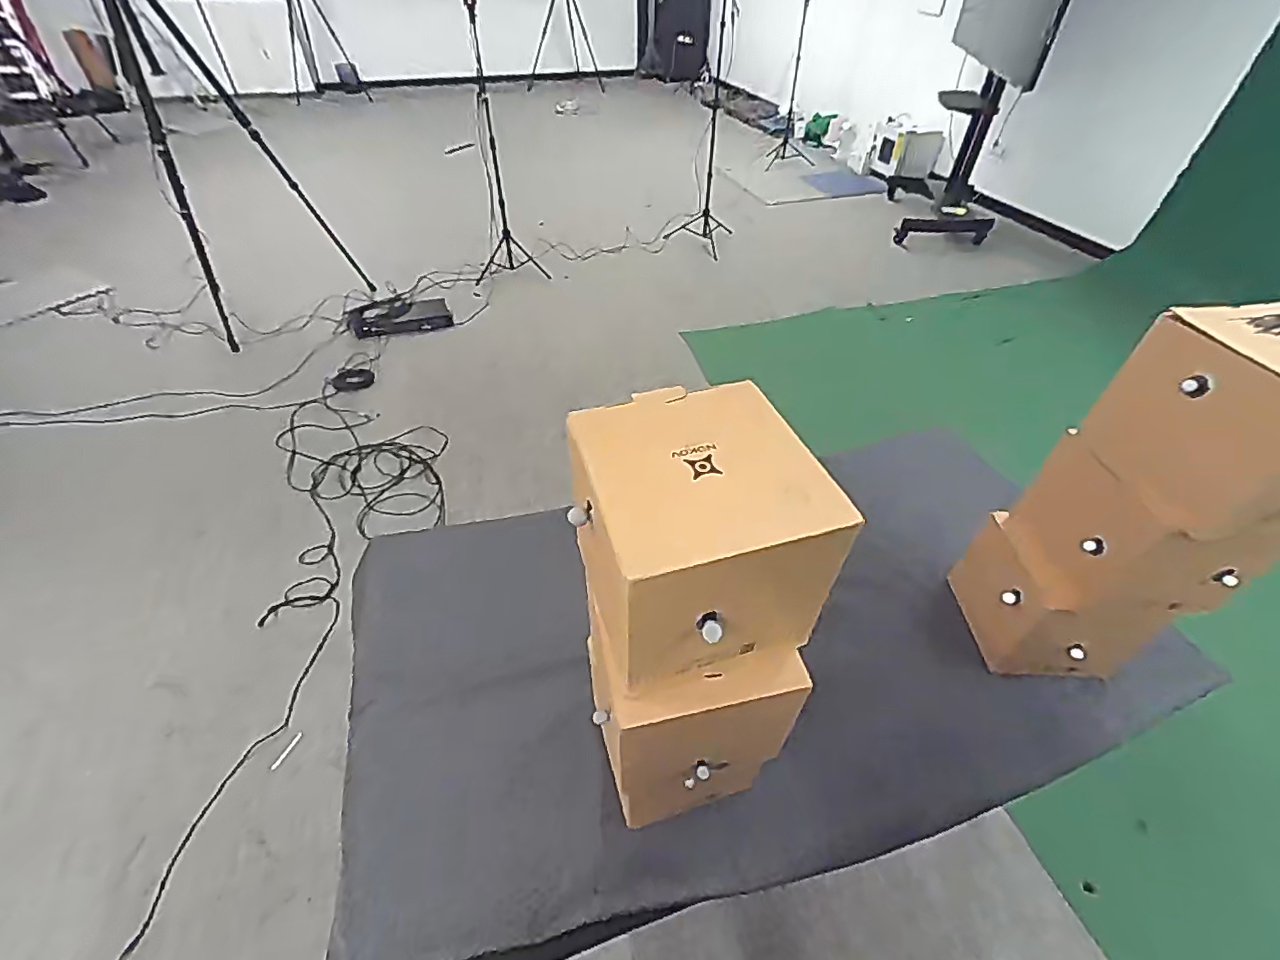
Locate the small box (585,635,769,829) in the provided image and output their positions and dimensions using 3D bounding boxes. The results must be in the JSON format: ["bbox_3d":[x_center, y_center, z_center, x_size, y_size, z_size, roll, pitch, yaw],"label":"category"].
[{"bbox_3d":[0.034,0.289,0.664,0.168,0.176,0.179,-13,45,-13],"label":"small box"}]

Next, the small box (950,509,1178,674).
[{"bbox_3d":[0.590,0.163,0.784,0.168,0.176,0.179,2,43,1],"label":"small box"}]

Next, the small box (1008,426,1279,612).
[{"bbox_3d":[0.611,0.050,0.668,0.168,0.176,0.179,-1,43,-3],"label":"small box"}]

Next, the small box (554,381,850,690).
[{"bbox_3d":[0.035,0.048,0.441,0.168,0.176,0.179,-13,46,-13],"label":"small box"}]

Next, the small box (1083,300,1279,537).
[{"bbox_3d":[0.620,-0.065,0.551,0.168,0.176,0.179,-6,45,-7],"label":"small box"}]
